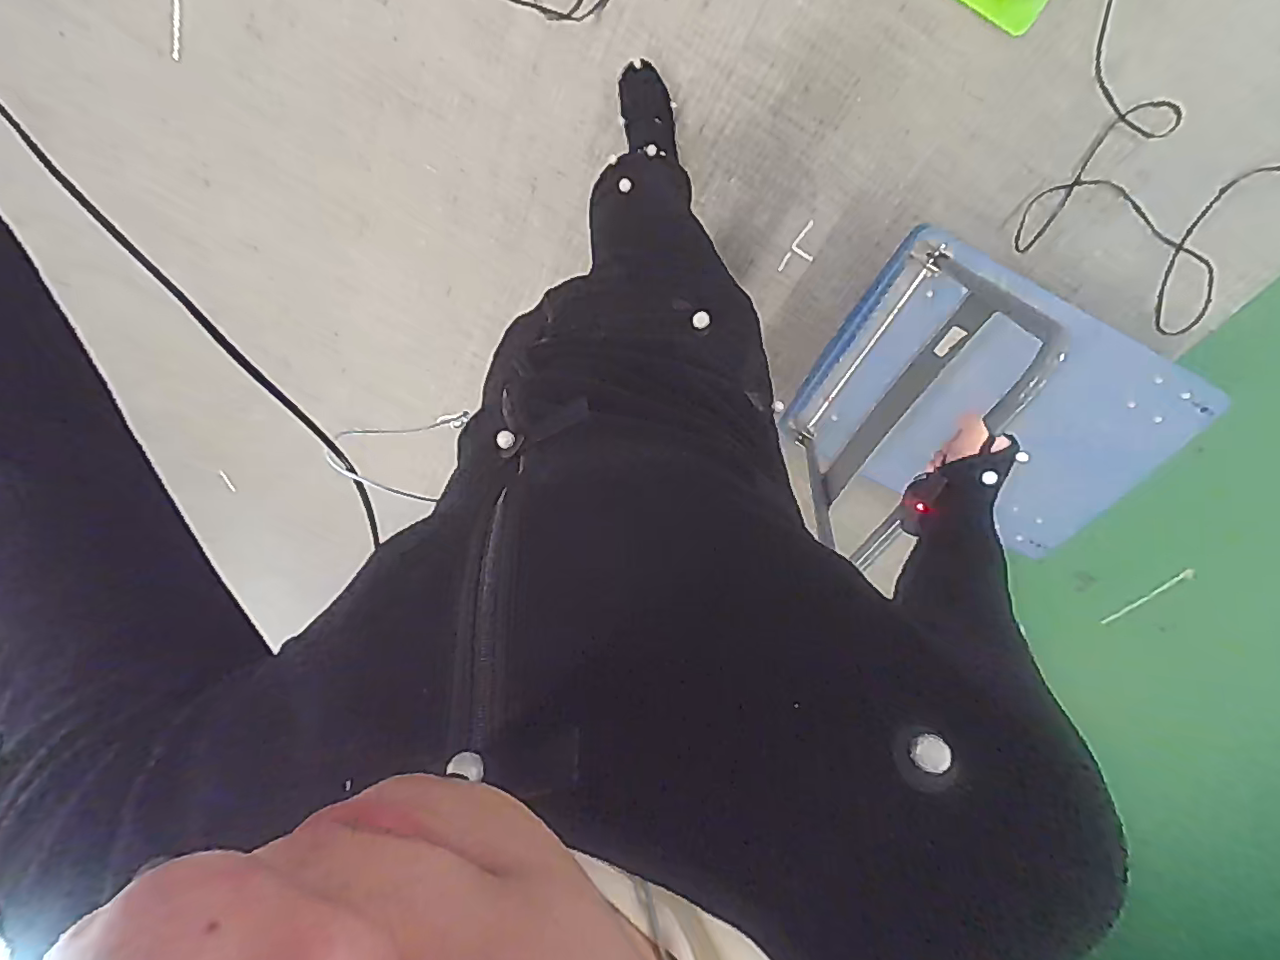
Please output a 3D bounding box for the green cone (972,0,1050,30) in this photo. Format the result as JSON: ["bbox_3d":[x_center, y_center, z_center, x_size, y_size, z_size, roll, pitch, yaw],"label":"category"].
[{"bbox_3d":[0.698,-0.903,0.859,0.200,0.368,0.202,25,122,-8],"label":"green cone"}]
